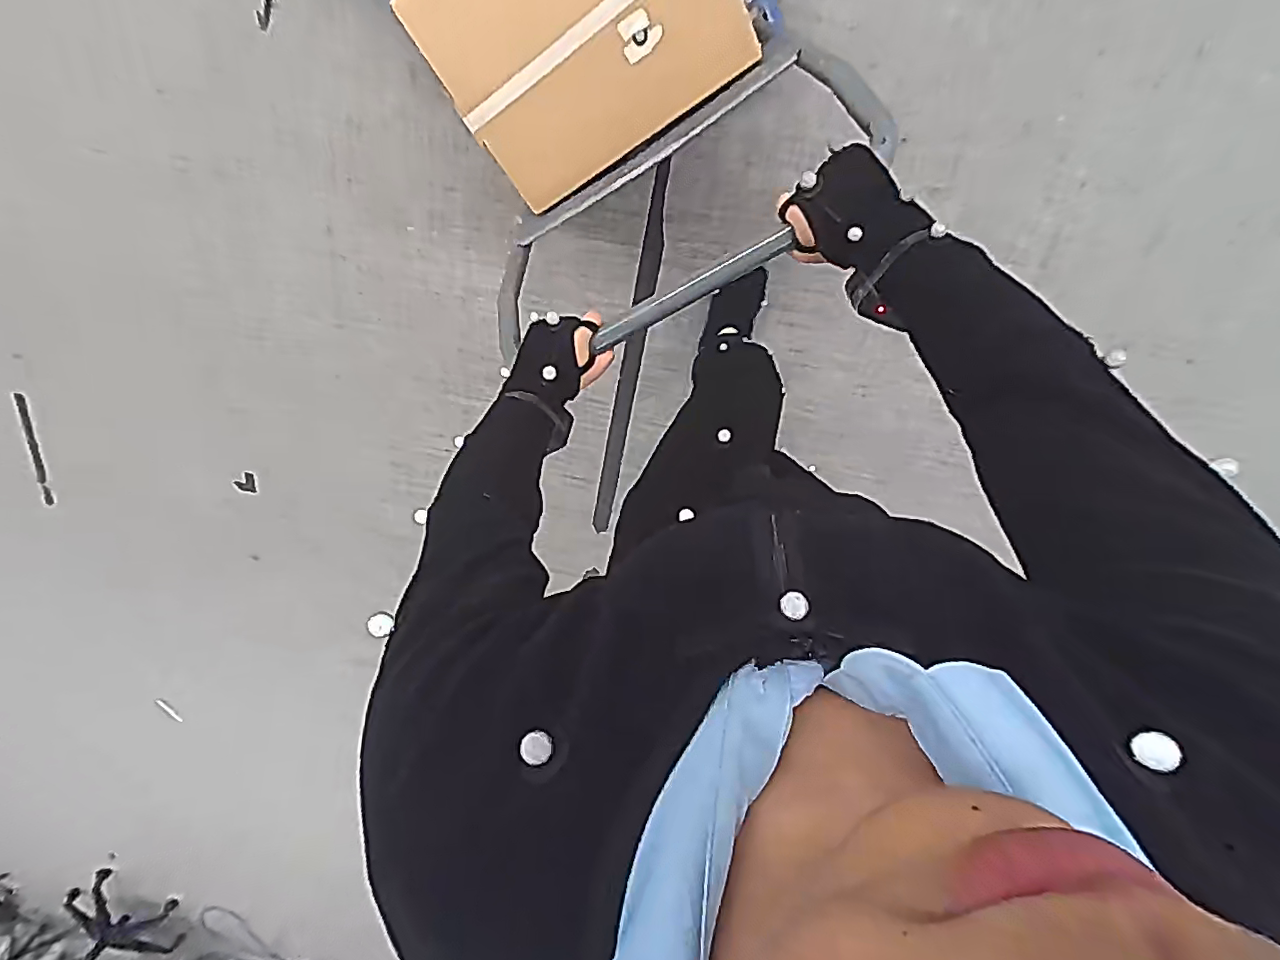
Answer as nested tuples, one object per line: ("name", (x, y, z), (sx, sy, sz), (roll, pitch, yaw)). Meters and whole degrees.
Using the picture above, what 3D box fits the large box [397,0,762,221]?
("large box", (-0.079, -0.692, 0.836), (0.408, 0.320, 0.320), (-26, 128, 20))
